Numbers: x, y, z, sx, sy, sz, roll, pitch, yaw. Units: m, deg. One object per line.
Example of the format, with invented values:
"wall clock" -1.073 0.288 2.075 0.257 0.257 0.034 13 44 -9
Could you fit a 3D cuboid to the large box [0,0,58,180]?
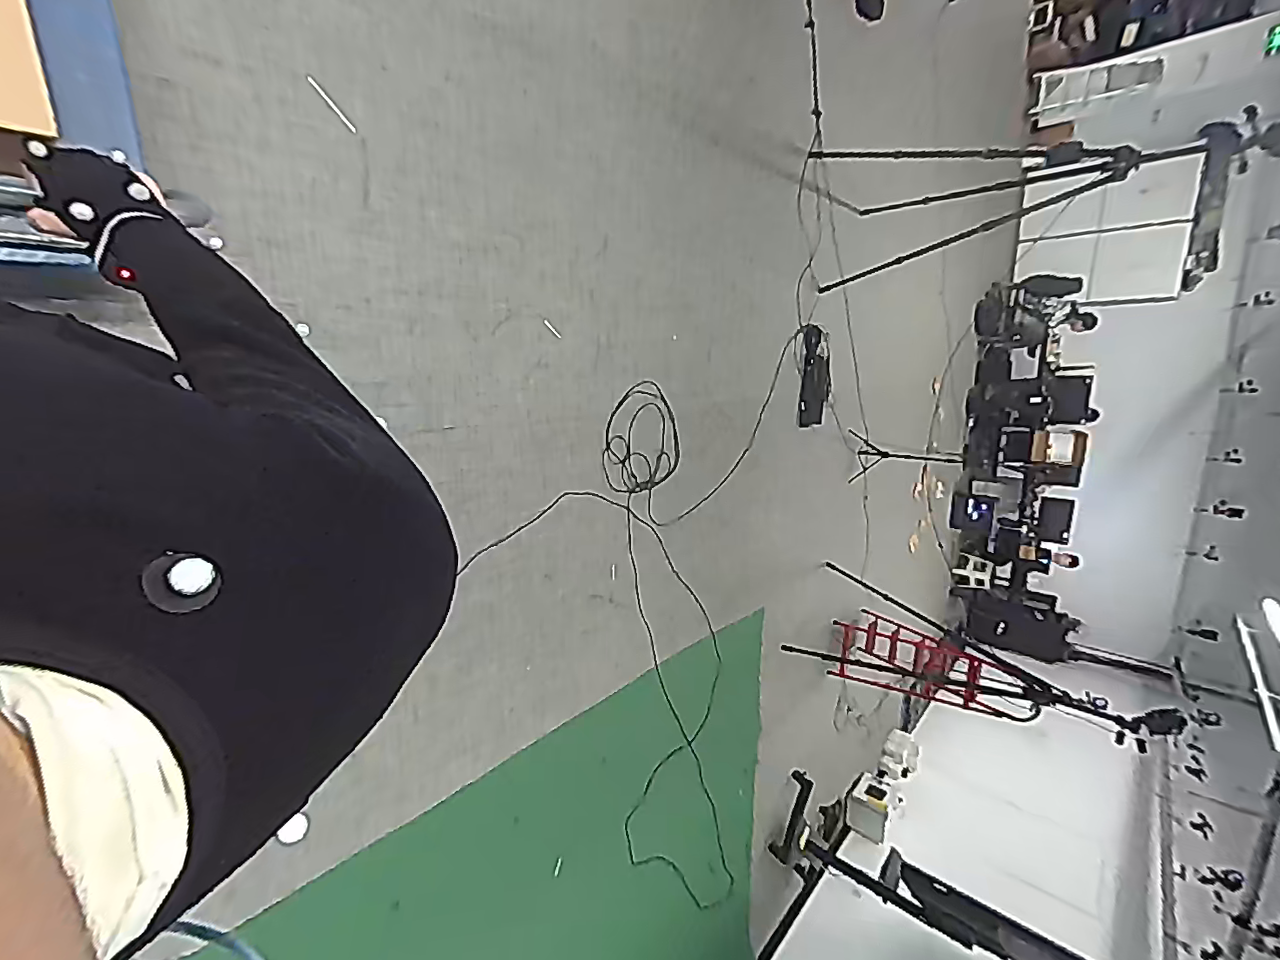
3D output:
"large box" -1.064 -0.678 0.727 0.320 0.320 0.408 -17 109 -45
